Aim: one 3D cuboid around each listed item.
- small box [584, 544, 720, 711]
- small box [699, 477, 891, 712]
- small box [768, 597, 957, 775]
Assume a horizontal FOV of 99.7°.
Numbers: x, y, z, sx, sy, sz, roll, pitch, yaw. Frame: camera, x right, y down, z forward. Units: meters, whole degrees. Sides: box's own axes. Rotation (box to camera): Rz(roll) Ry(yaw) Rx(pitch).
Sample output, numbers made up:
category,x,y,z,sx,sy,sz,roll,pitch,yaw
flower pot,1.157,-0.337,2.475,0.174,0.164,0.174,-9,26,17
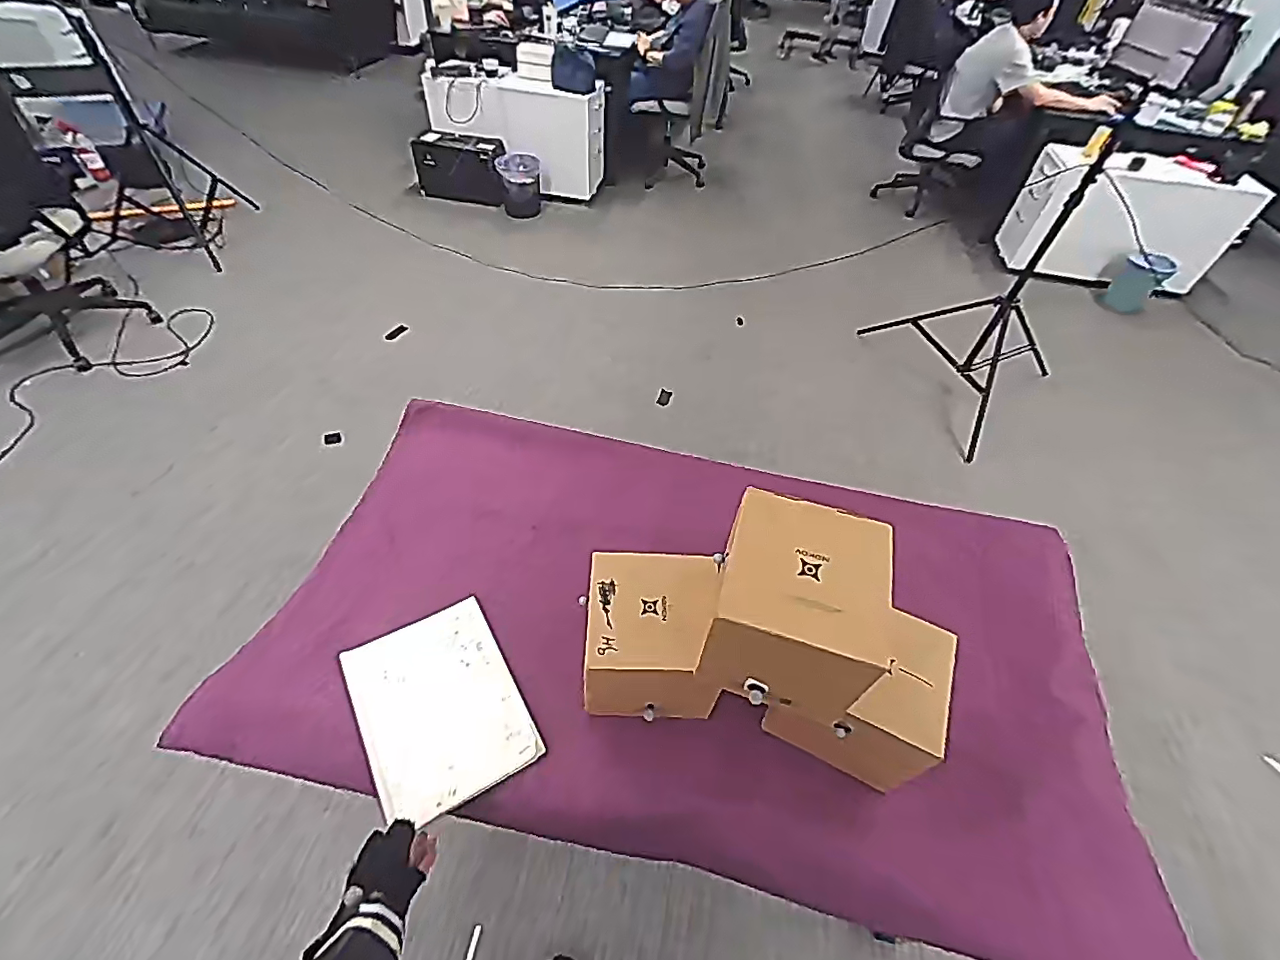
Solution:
category,x,y,z,sx,sy,sz,roll,pitch,yaw
small box,0.016,0.208,0.751,0.179,0.176,0.168,3,48,-3
small box,0.169,0.130,0.615,0.168,0.176,0.179,14,49,10
small box,0.288,0.261,0.723,0.179,0.176,0.168,22,51,16
